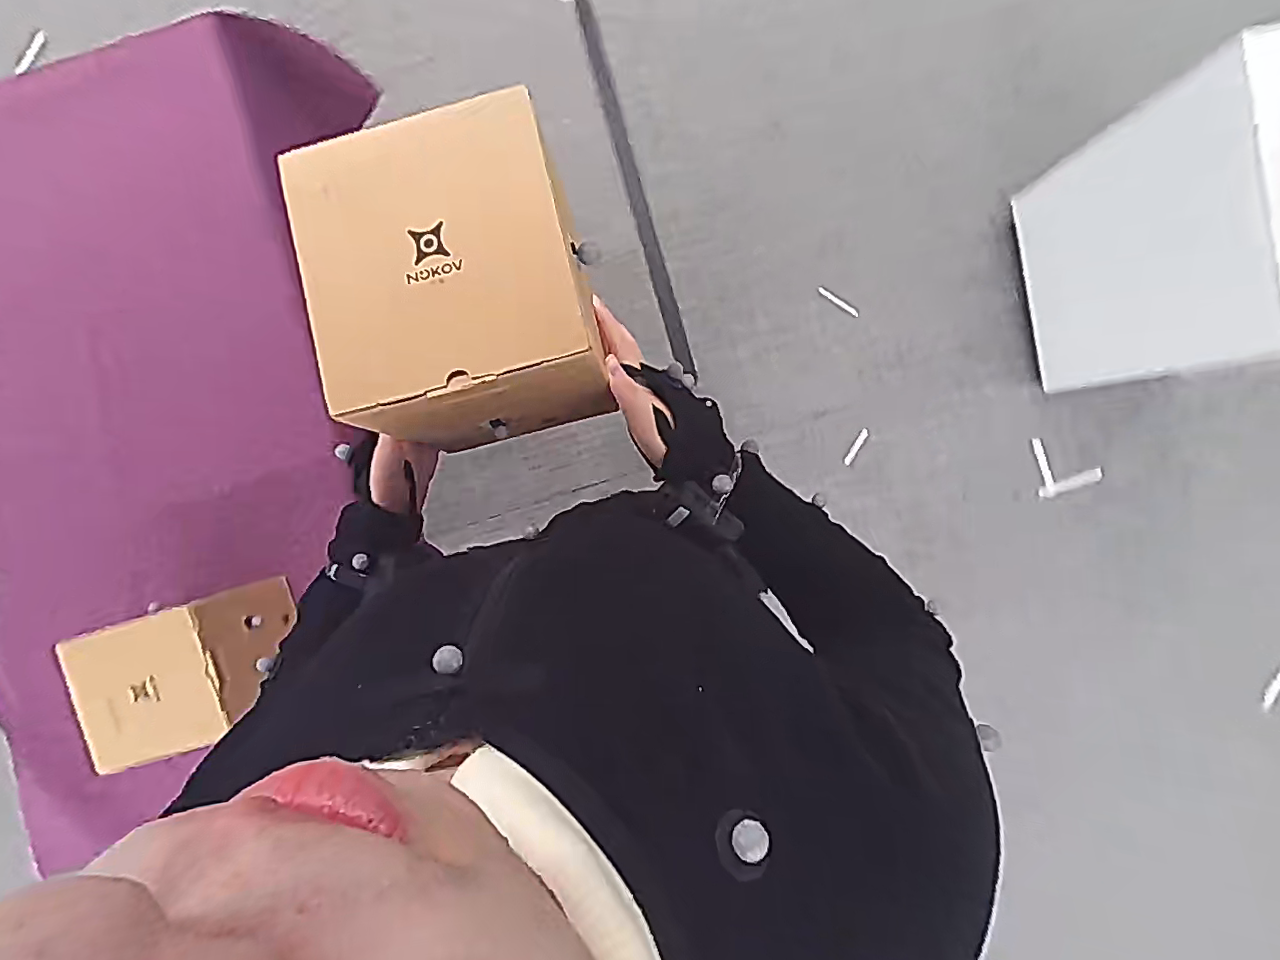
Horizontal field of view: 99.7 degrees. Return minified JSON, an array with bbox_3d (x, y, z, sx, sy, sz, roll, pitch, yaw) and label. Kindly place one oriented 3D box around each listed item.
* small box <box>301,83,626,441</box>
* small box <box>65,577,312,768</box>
[{"bbox_3d":[-0.111,-0.139,0.409,0.168,0.176,0.179,-13,87,3],"label":"small box"},{"bbox_3d":[-0.577,0.241,0.722,0.179,0.176,0.168,-17,92,3],"label":"small box"}]
